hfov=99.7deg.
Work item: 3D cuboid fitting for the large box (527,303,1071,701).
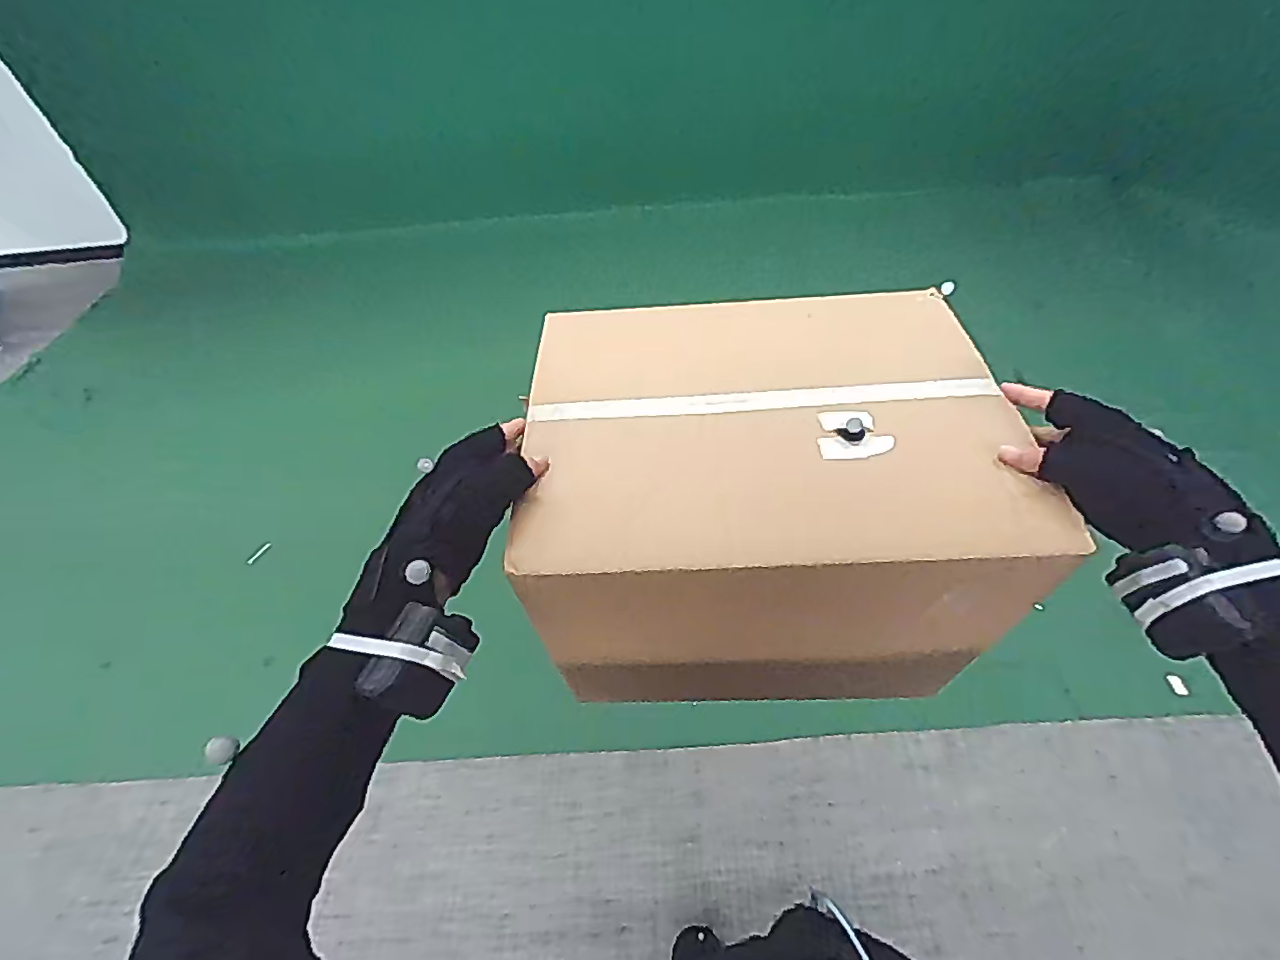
[{"bbox_3d":[0.116,0.035,0.598,0.408,0.320,0.320,-3,52,2],"label":"large box"}]
